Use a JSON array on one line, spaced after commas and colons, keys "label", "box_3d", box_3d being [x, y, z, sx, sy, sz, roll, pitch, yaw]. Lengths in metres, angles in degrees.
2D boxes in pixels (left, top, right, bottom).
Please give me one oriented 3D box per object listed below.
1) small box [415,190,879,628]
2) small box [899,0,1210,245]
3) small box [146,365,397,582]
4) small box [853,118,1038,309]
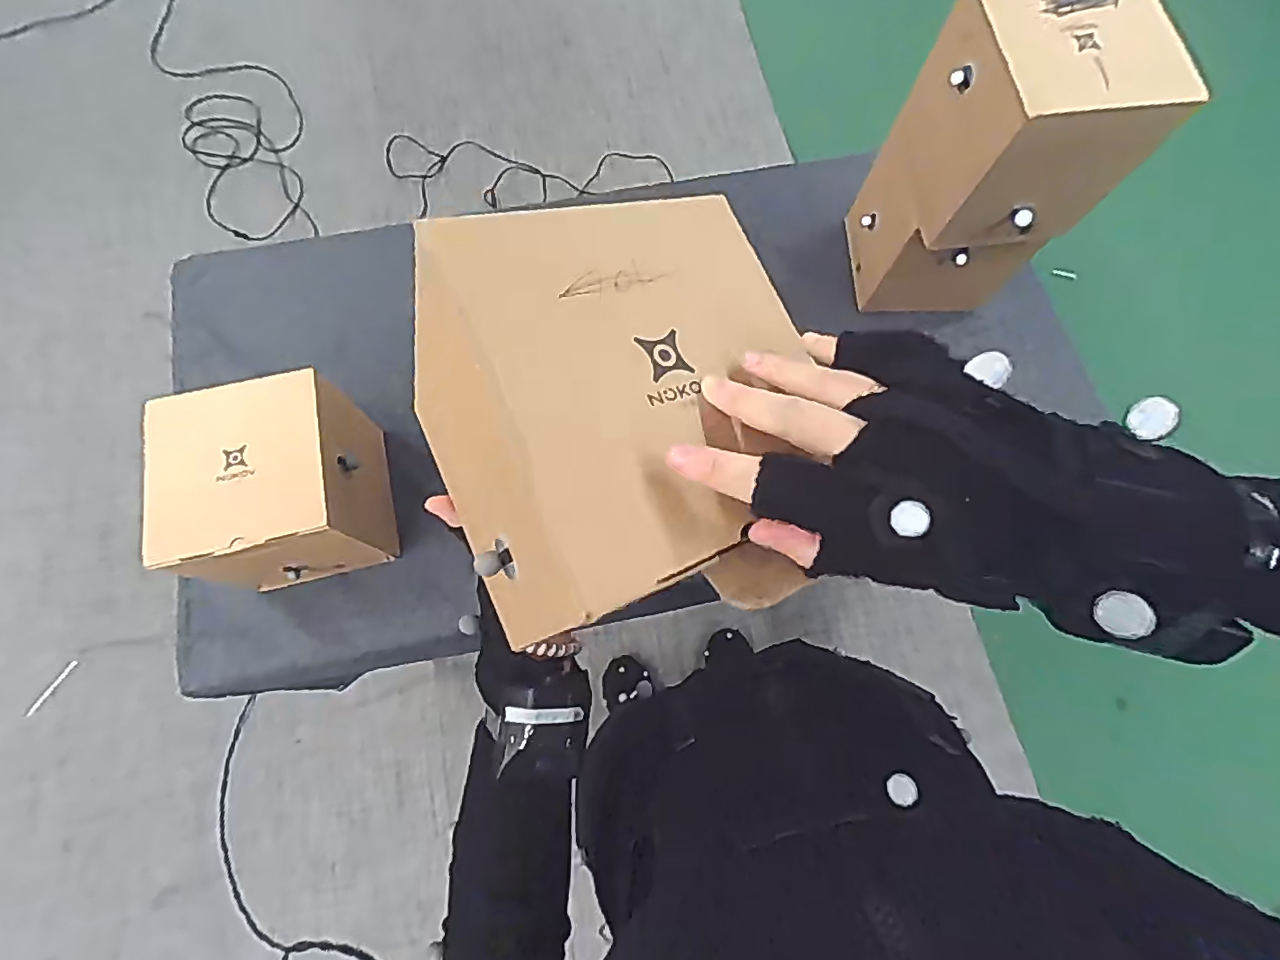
[{"label": "small box", "box_3d": [-0.015, -0.027, 0.306, 0.168, 0.176, 0.179, -19, 79, -27]}, {"label": "small box", "box_3d": [0.397, -0.375, 0.558, 0.168, 0.176, 0.179, -6, 74, -2]}, {"label": "small box", "box_3d": [-0.390, 0.002, 0.598, 0.168, 0.176, 0.179, -13, 74, -6]}, {"label": "small box", "box_3d": [0.400, -0.345, 0.721, 0.179, 0.176, 0.168, 0, 74, -1]}]
